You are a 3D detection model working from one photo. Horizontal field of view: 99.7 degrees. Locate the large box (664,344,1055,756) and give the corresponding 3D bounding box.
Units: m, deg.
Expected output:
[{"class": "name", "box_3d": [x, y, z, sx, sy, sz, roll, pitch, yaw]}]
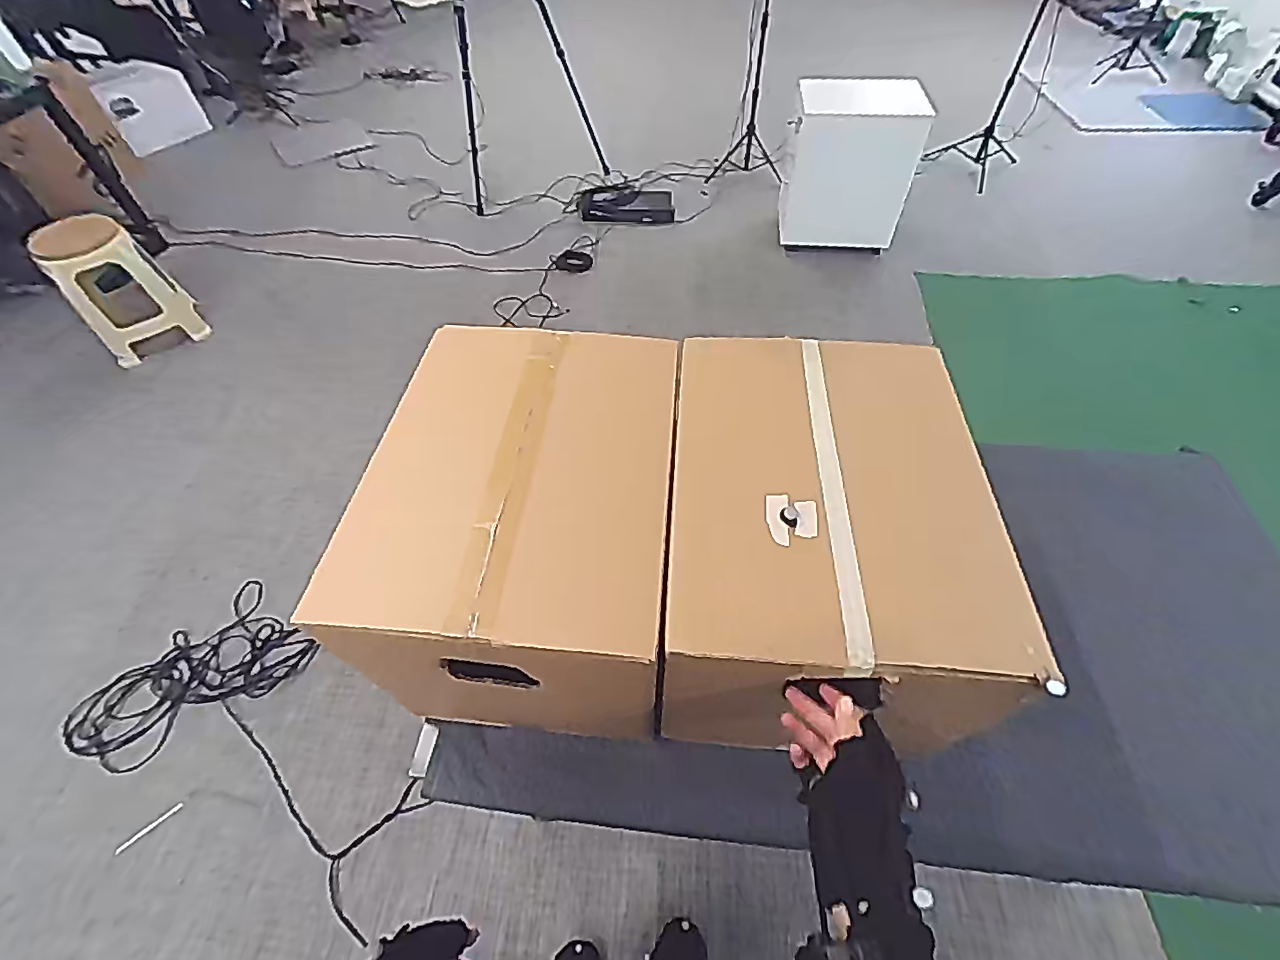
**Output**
[{"class": "large box", "box_3d": [0.193, 0.084, 0.671, 0.320, 0.320, 0.408, 3, 53, 5]}]
